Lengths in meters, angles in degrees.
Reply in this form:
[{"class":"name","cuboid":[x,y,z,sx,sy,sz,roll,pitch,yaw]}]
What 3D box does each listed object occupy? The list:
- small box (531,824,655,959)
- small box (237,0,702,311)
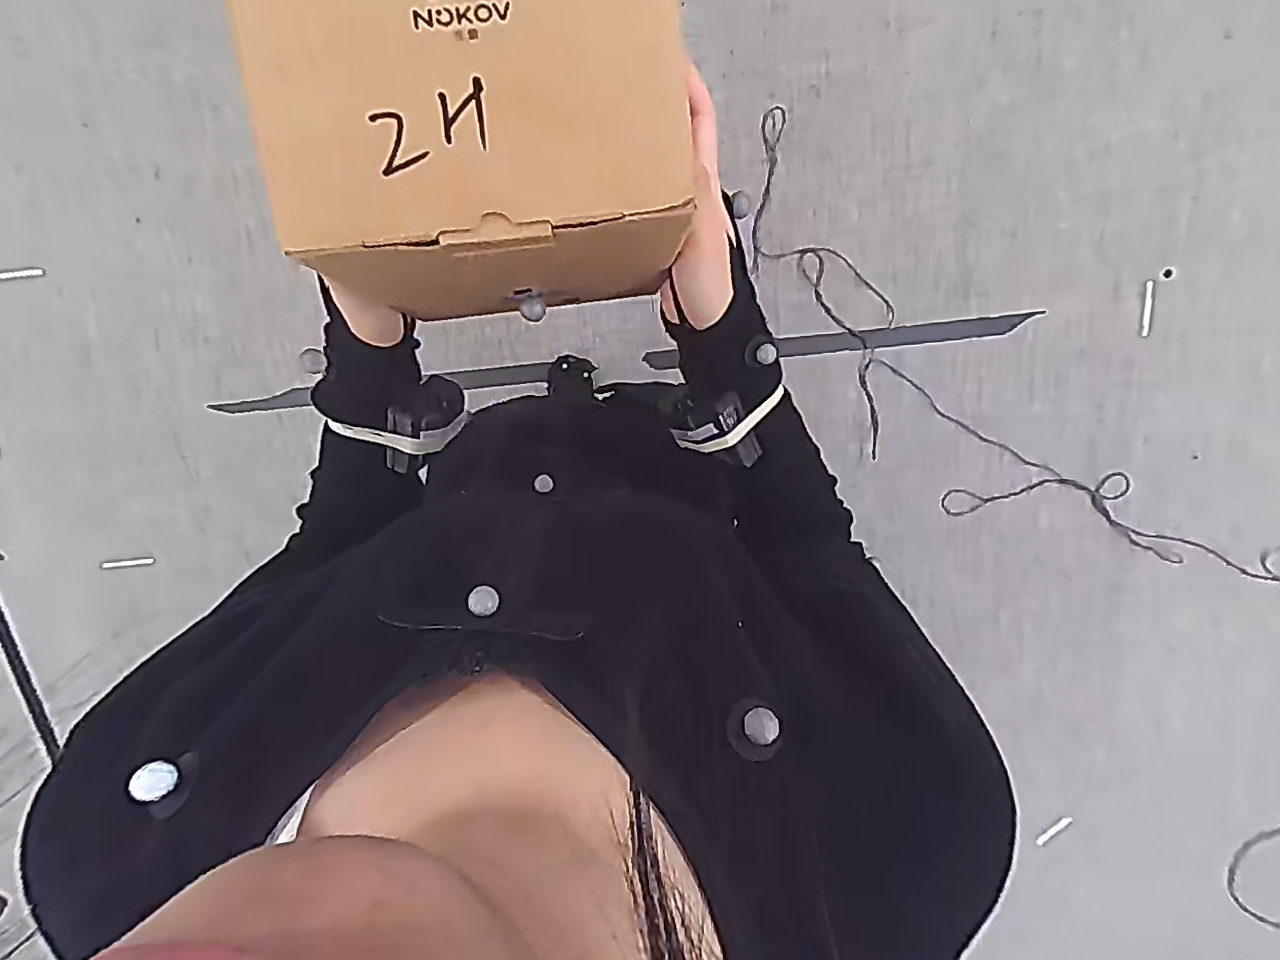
[{"class":"small box","cuboid":[-0.062,0.663,0.817,0.168,0.176,0.179,-4,102,-1]},{"class":"small box","cuboid":[-0.071,-0.198,0.278,0.168,0.176,0.179,-8,99,-3]}]
